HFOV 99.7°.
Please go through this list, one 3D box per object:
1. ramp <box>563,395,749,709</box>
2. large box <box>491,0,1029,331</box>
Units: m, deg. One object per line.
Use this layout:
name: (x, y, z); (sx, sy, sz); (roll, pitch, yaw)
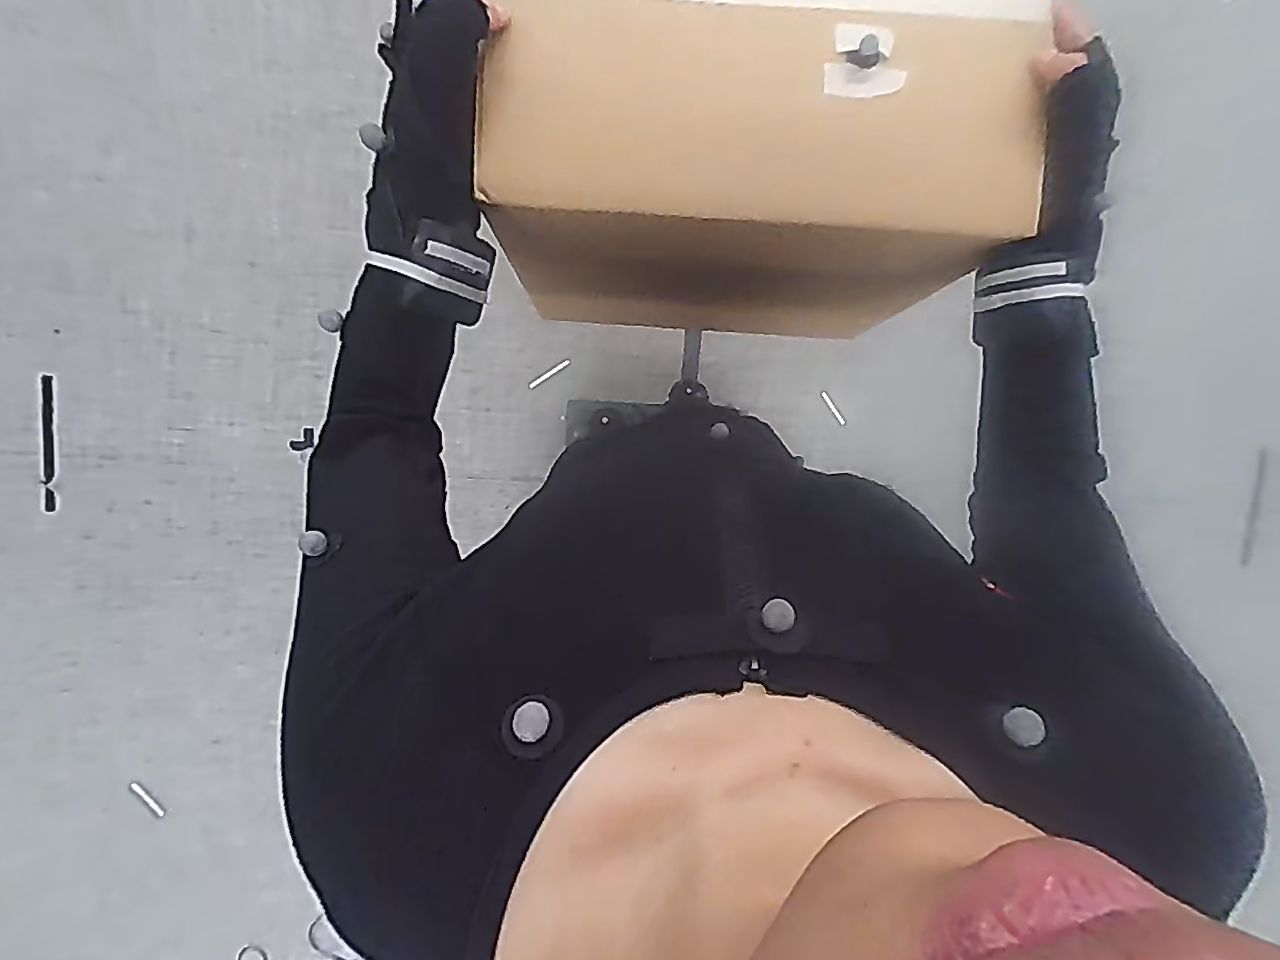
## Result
ramp: (0.025, 0.257, 1.599); (0.509, 0.206, 0.991); (1, 97, -3)
large box: (0.085, -0.349, 0.547); (0.408, 0.320, 0.320); (3, 91, -2)
